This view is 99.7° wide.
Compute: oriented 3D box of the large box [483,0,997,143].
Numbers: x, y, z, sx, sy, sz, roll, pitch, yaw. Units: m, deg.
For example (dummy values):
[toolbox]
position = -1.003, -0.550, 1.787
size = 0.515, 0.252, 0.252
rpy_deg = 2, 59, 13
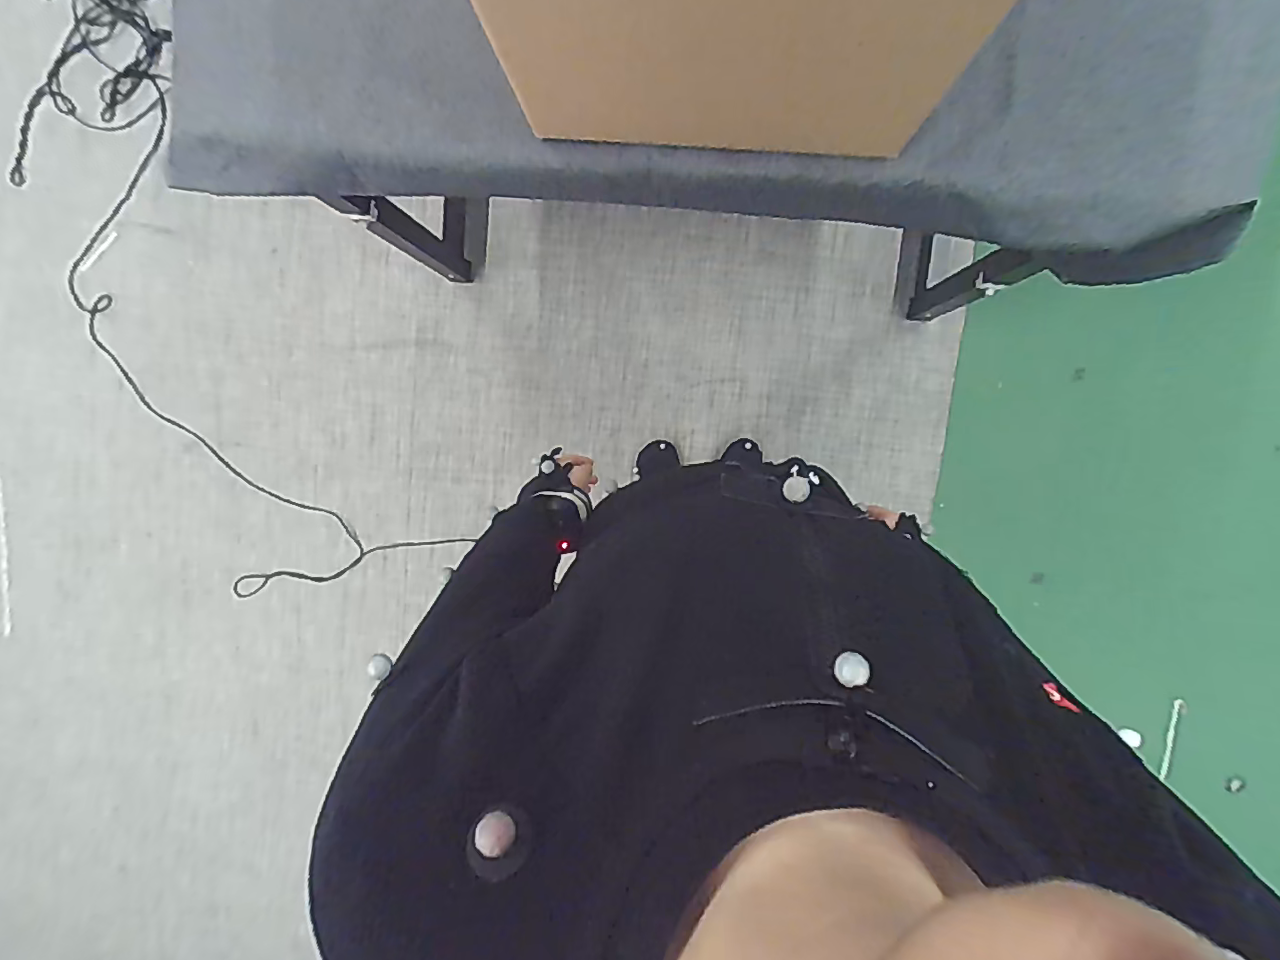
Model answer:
[large box]
position = 0.080, -0.517, 0.441
size = 0.408, 0.320, 0.320
rpy_deg = 5, 95, 3
